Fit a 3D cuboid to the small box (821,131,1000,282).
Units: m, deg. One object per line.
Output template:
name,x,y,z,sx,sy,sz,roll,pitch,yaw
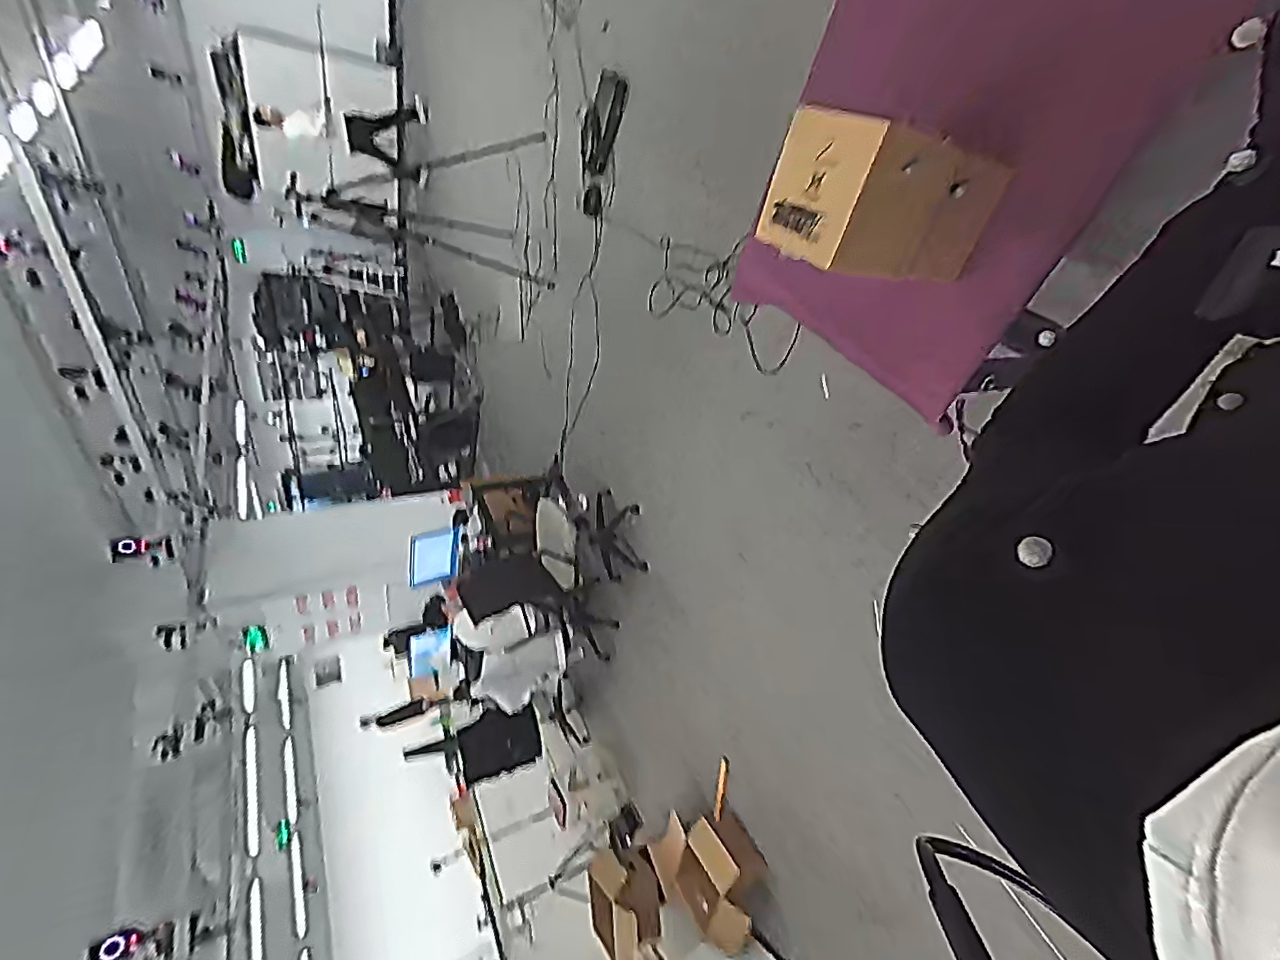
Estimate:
small box,0.438,-0.438,0.877,0.168,0.176,0.179,51,138,41
